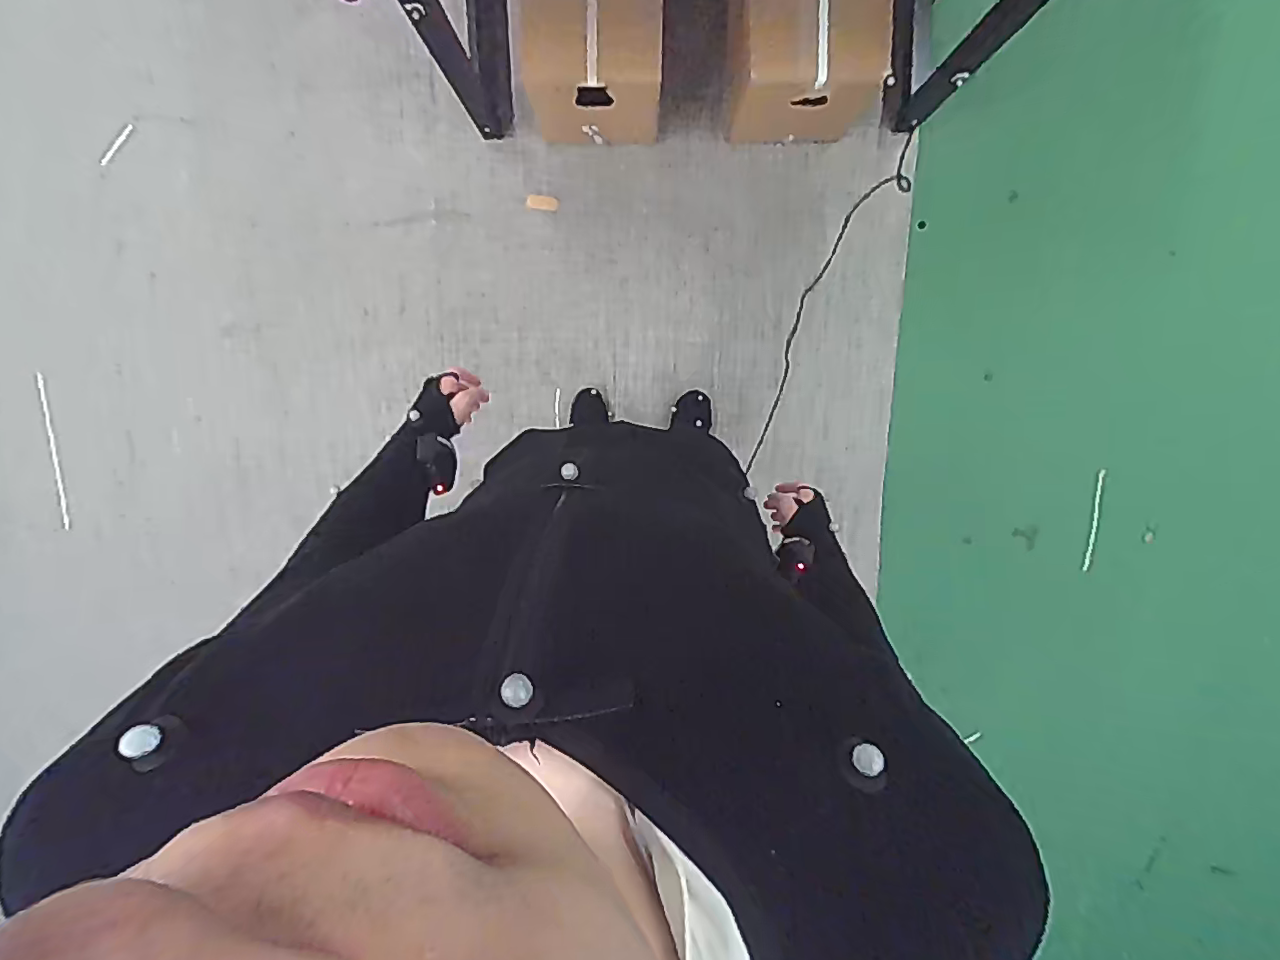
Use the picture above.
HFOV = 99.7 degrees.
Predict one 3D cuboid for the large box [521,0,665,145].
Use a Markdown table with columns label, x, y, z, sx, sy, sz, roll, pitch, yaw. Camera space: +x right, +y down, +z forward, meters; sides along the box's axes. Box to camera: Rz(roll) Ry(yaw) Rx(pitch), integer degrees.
| label | x | y | z | sx | sy | sz | roll | pitch | yaw |
| --- | --- | --- | --- | --- | --- | --- | --- | --- | --- |
| large box | -0.100 | -1.091 | 1.303 | 0.320 | 0.320 | 0.408 | 1 | 98 | 0 |
